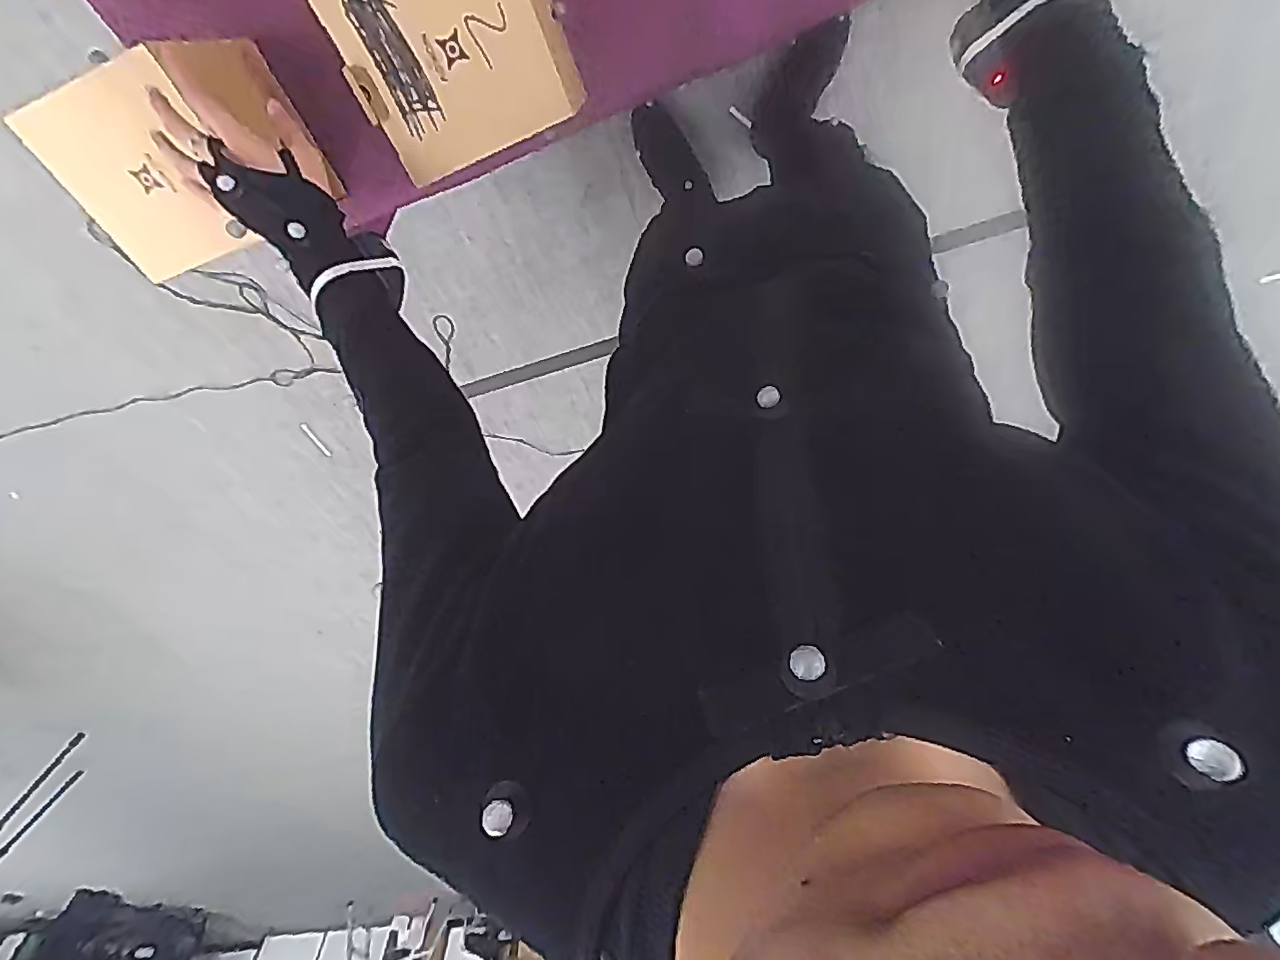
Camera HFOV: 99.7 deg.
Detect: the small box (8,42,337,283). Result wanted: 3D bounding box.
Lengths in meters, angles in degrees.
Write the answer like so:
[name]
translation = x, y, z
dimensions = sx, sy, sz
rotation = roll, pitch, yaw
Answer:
[small box]
translation = -0.482, -0.346, 0.593
dimensions = 0.179, 0.176, 0.168
rotation = -16, 128, 11
